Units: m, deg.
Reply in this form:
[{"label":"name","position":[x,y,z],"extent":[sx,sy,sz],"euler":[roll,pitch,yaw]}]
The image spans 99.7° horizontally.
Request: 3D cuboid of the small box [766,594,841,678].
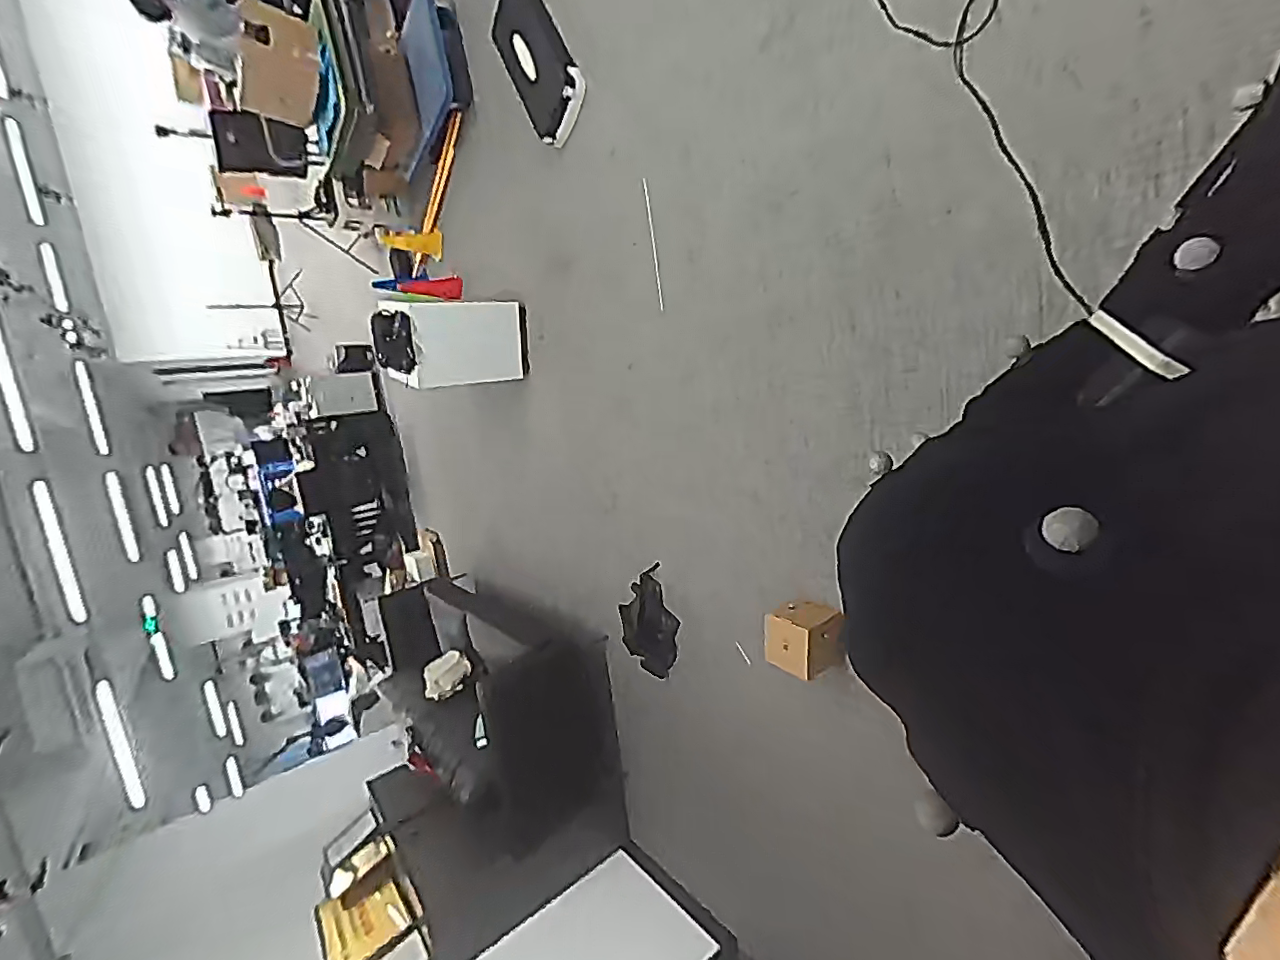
[{"label":"small box","position":[0.518,0.484,1.708],"extent":[0.168,0.176,0.179],"euler":[15,114,52]}]
